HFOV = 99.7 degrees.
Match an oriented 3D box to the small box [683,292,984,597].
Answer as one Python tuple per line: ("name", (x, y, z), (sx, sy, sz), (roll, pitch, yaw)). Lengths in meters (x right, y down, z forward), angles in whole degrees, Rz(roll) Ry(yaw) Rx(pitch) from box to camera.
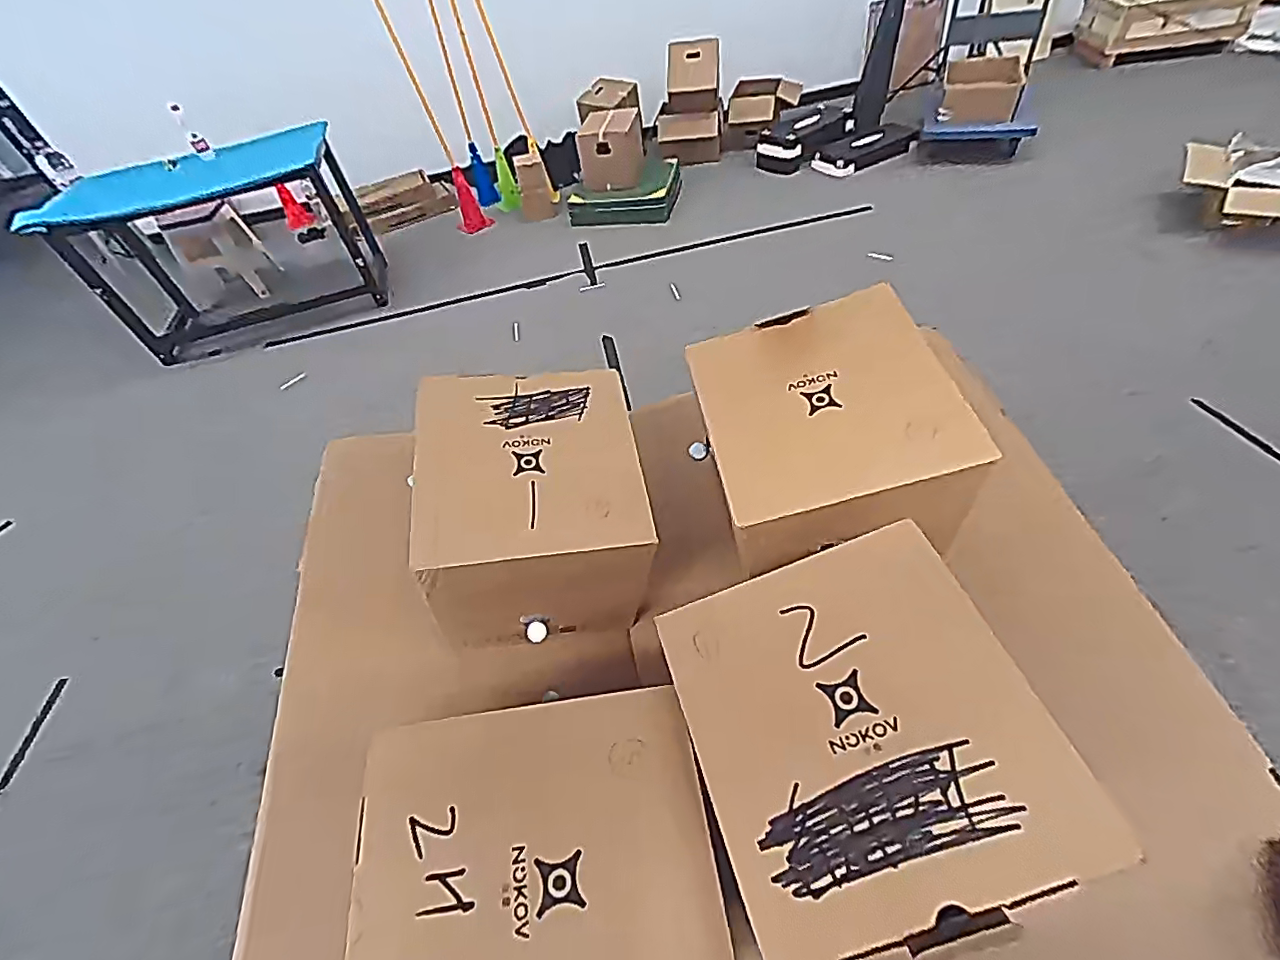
("small box", (0.146, -0.016, 0.454), (0.168, 0.176, 0.179), (-16, 54, 8))

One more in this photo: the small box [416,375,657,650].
("small box", (-0.091, 0.030, 0.479), (0.168, 0.176, 0.179), (-5, 56, -11))
